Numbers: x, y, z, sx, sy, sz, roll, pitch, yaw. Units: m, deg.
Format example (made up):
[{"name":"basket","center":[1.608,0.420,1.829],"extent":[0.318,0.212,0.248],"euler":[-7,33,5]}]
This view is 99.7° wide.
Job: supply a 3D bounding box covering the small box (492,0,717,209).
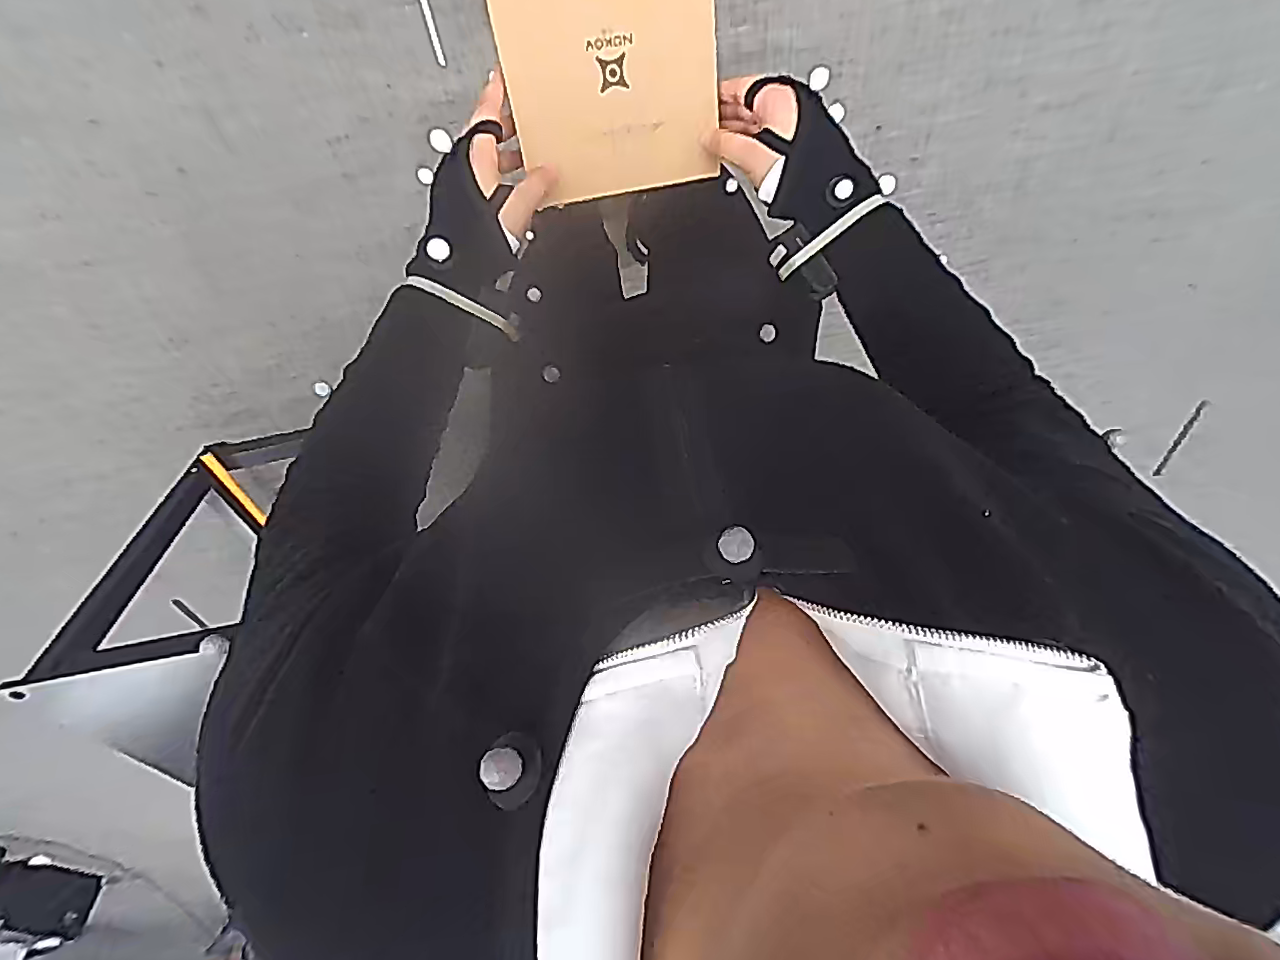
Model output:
[{"name":"small box","center":[-0.034,-0.366,0.489],"extent":[0.168,0.176,0.179],"euler":[-11,127,-2]}]
